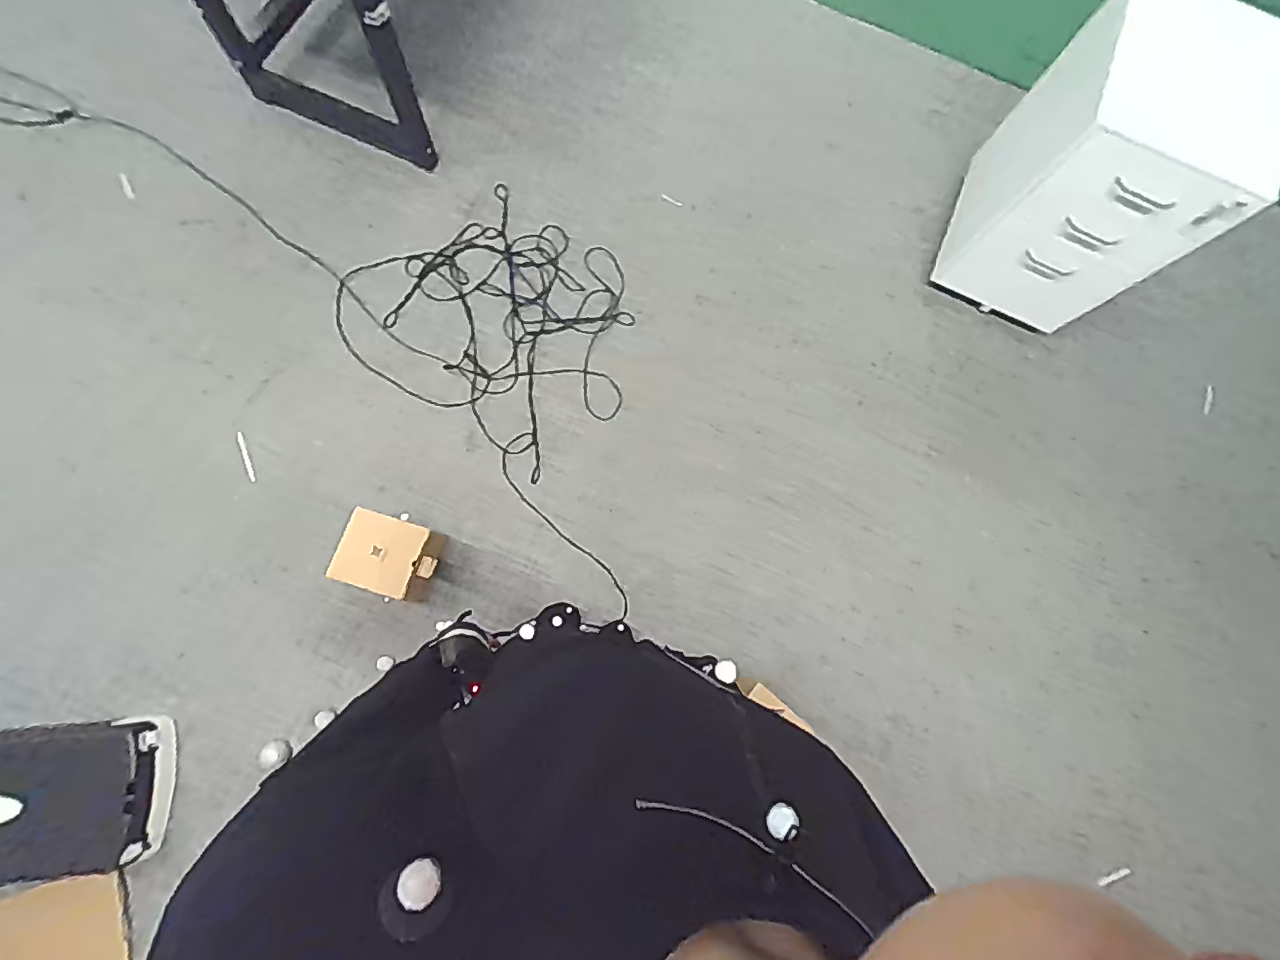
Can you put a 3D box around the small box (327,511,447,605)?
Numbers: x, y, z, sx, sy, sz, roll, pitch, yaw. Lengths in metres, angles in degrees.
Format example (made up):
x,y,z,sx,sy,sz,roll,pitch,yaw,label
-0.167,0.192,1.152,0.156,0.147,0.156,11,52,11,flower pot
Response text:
x,y,z,sx,sy,sz,roll,pitch,yaw,label
-0.575,0.189,1.255,0.179,0.176,0.168,18,74,-2,small box
